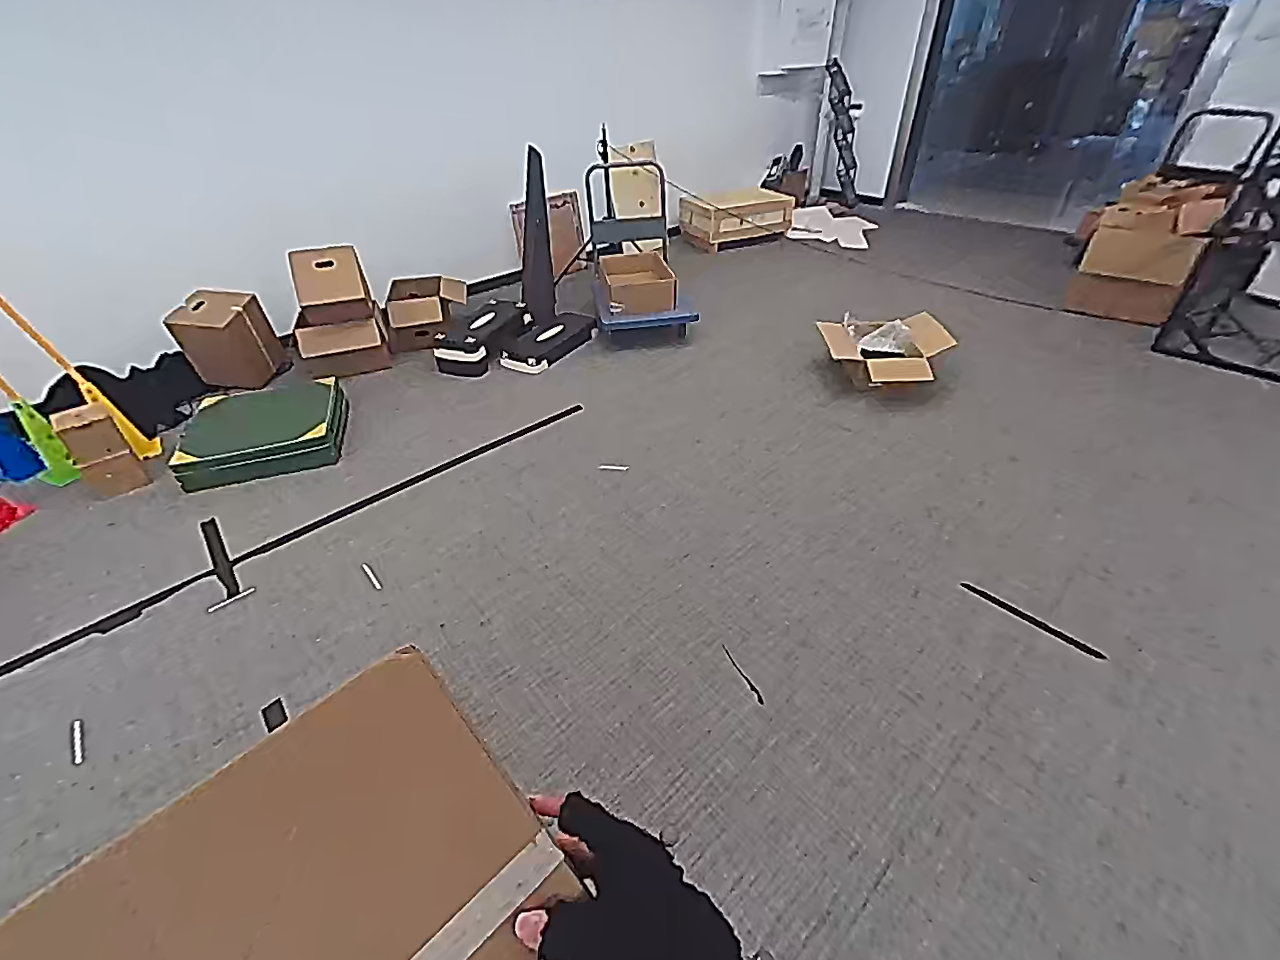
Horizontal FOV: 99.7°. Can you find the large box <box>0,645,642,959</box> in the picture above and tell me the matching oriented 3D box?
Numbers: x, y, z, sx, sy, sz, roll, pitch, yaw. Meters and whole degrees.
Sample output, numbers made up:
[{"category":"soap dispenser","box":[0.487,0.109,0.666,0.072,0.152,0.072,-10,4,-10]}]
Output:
[{"category":"large box","box":[-0.240,0.389,0.376,0.408,0.320,0.320,-34,79,-28]}]
